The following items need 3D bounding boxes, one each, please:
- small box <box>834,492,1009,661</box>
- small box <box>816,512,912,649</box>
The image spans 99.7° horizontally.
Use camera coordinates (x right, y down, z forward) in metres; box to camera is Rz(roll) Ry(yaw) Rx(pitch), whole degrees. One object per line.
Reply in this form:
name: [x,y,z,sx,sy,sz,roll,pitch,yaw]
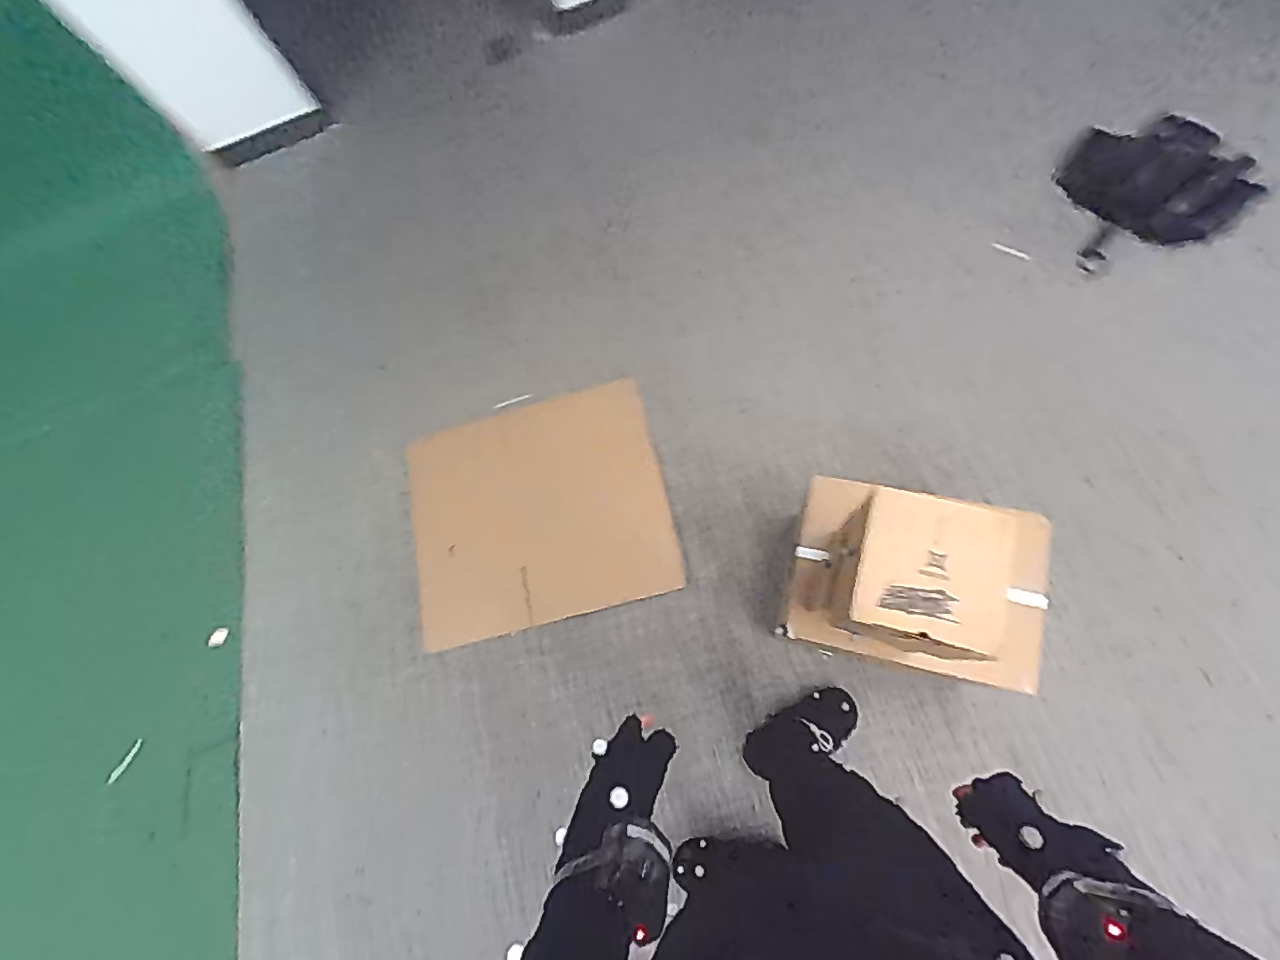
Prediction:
small box: [0.366,0.133,0.731,0.168,0.176,0.179,10,76,15]
small box: [0.402,0.172,0.890,0.179,0.176,0.168,16,74,15]
